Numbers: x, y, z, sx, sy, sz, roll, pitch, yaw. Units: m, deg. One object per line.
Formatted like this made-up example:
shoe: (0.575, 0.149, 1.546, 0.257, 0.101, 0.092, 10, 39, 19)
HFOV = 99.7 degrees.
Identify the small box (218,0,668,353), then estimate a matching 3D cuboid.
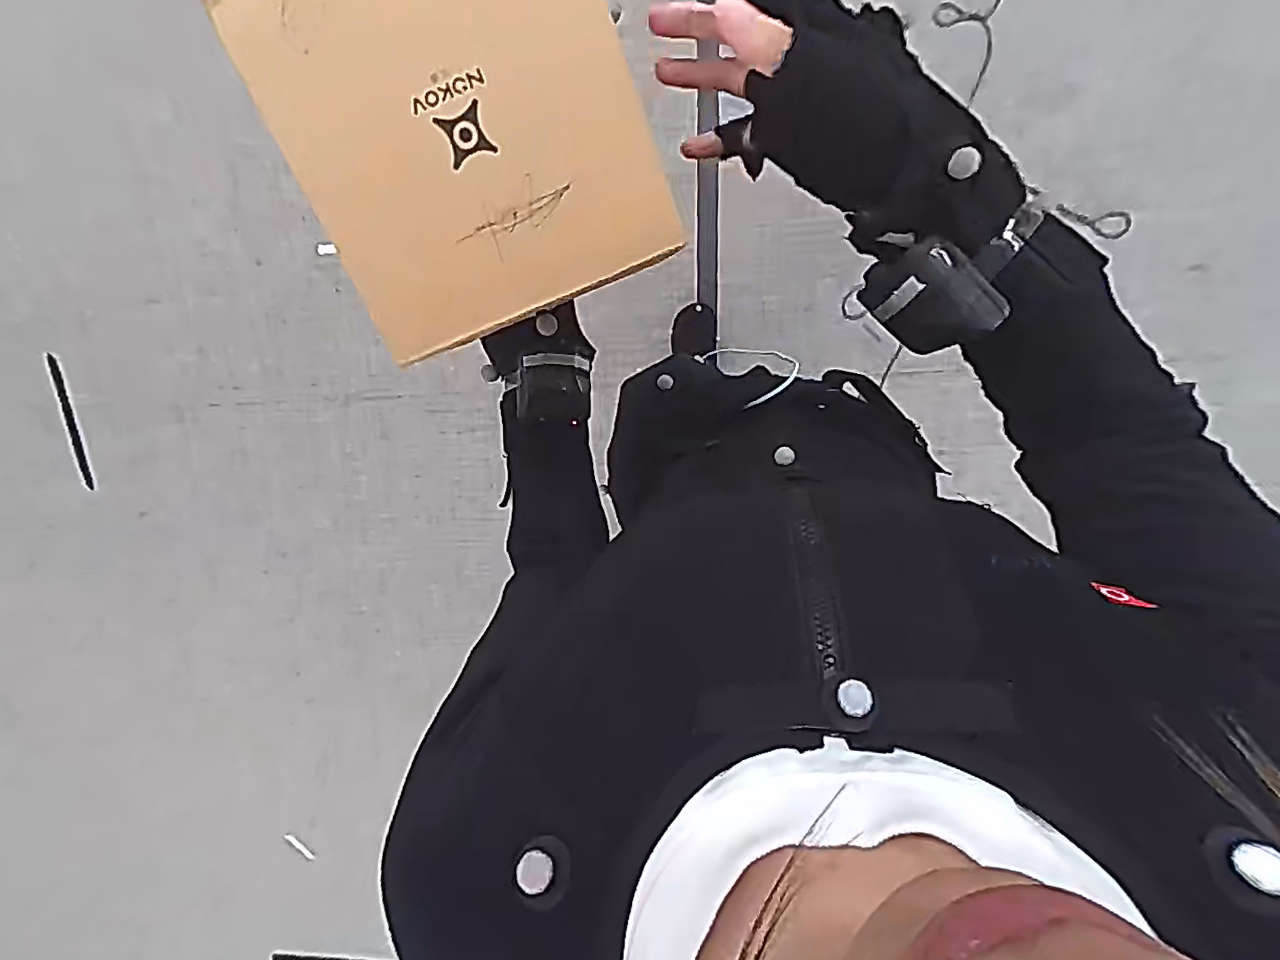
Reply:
small box: (-0.093, -0.195, 0.342, 0.168, 0.176, 0.179, -20, 108, 5)
